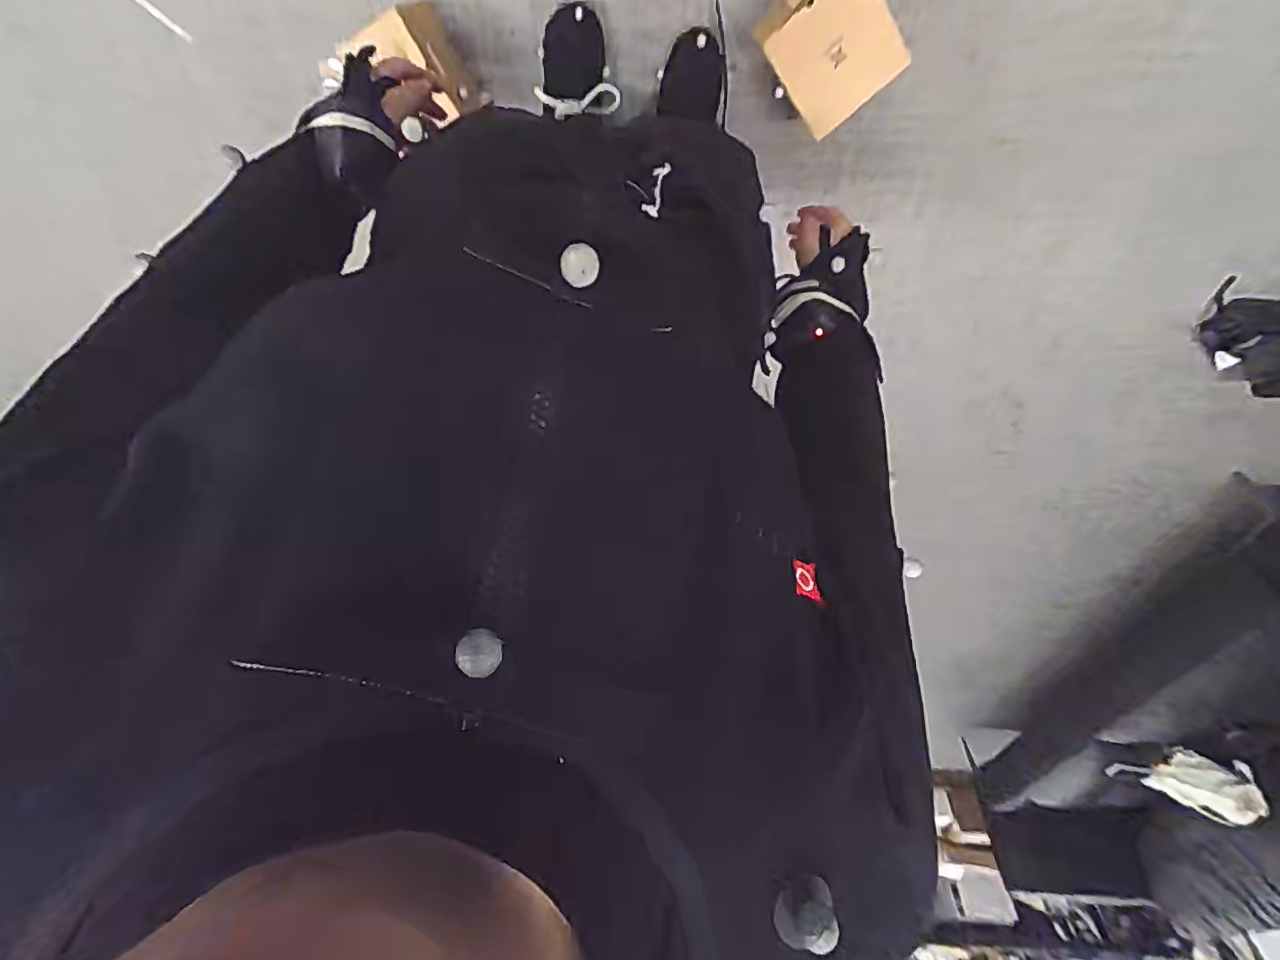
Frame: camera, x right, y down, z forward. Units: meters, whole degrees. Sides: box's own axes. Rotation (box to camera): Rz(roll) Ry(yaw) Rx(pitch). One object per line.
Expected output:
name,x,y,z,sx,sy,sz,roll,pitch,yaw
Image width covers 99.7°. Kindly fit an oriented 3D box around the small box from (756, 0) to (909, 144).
small box,0.312,-0.712,0.897,0.168,0.176,0.179,-31,126,30
